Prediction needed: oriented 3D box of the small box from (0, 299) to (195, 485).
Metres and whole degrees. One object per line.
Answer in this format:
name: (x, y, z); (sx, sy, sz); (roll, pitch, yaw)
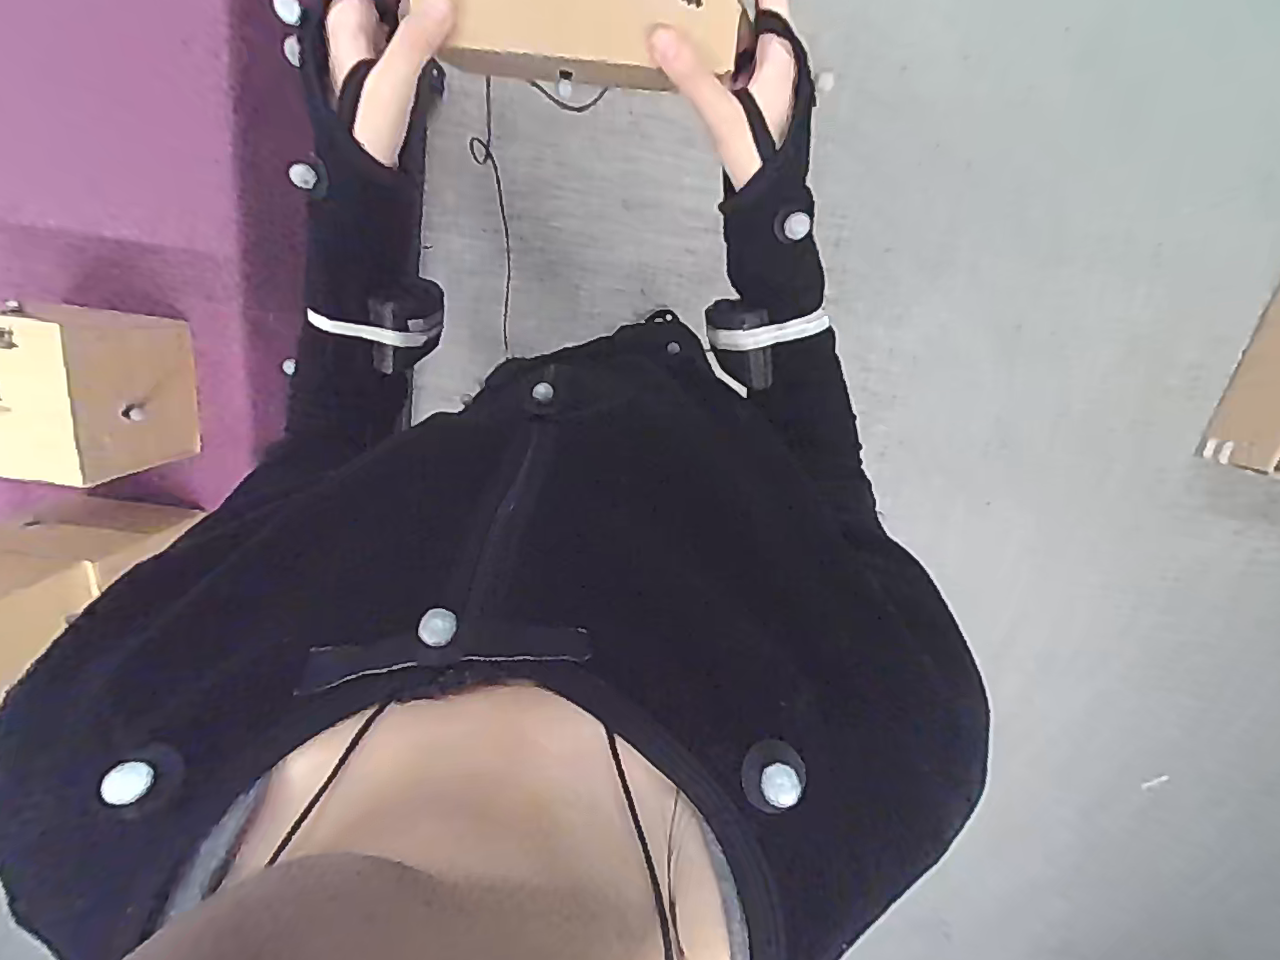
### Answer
small box: (-0.671, -0.111, 0.637); (0.168, 0.176, 0.179); (8, 107, -2)
